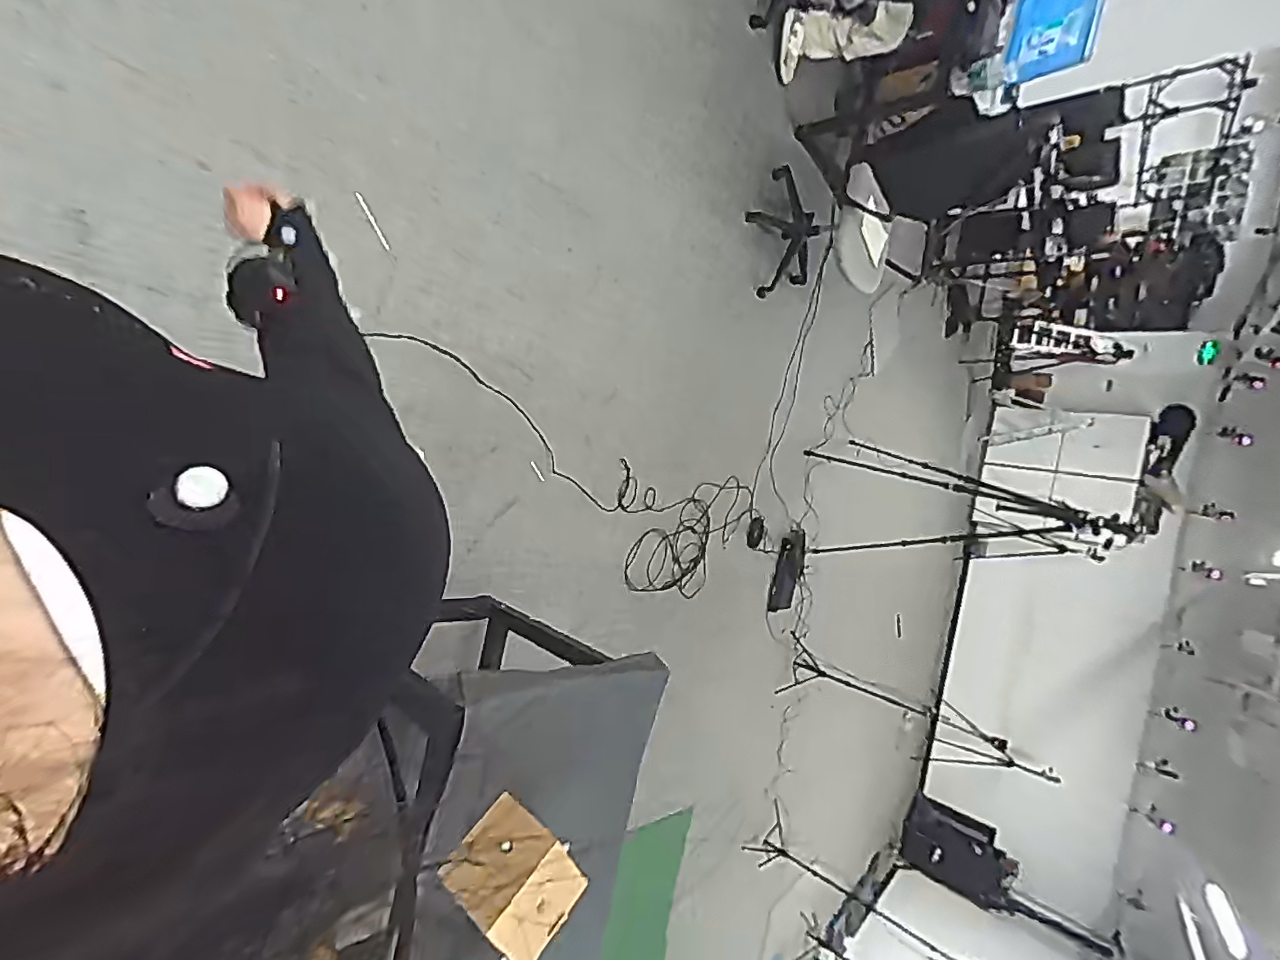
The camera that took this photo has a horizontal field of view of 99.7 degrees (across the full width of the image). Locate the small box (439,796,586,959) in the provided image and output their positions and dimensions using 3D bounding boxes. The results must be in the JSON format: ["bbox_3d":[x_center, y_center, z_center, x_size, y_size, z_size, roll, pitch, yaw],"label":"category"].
[{"bbox_3d":[-0.235,0.722,0.993,0.168,0.176,0.179,-43,129,-35],"label":"small box"}]

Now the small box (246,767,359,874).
[{"bbox_3d":[-0.882,0.880,1.404,0.168,0.176,0.179,43,64,-46],"label":"small box"}]

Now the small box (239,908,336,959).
[{"bbox_3d":[-0.942,1.281,1.425,0.168,0.176,0.179,22,83,-49],"label":"small box"}]
